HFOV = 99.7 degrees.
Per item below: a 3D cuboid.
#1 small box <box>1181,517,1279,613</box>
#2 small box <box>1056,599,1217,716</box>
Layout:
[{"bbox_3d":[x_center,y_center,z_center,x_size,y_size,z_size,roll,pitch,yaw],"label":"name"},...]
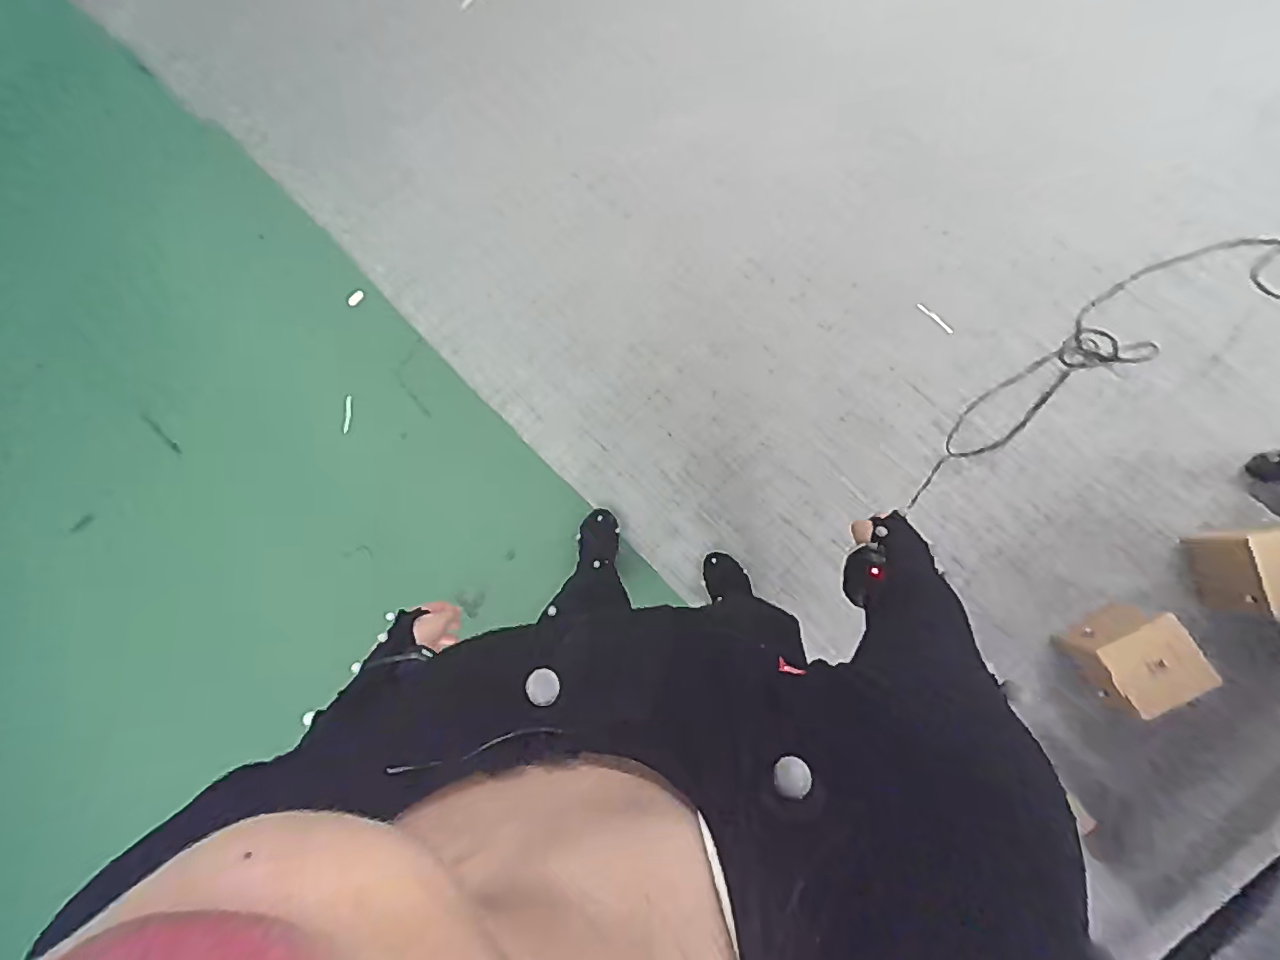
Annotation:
[{"bbox_3d":[1.349,0.178,1.176,0.168,0.176,0.179,-14,83,8],"label":"small box"},{"bbox_3d":[1.080,0.385,1.201,0.179,0.176,0.168,-32,82,4],"label":"small box"}]
